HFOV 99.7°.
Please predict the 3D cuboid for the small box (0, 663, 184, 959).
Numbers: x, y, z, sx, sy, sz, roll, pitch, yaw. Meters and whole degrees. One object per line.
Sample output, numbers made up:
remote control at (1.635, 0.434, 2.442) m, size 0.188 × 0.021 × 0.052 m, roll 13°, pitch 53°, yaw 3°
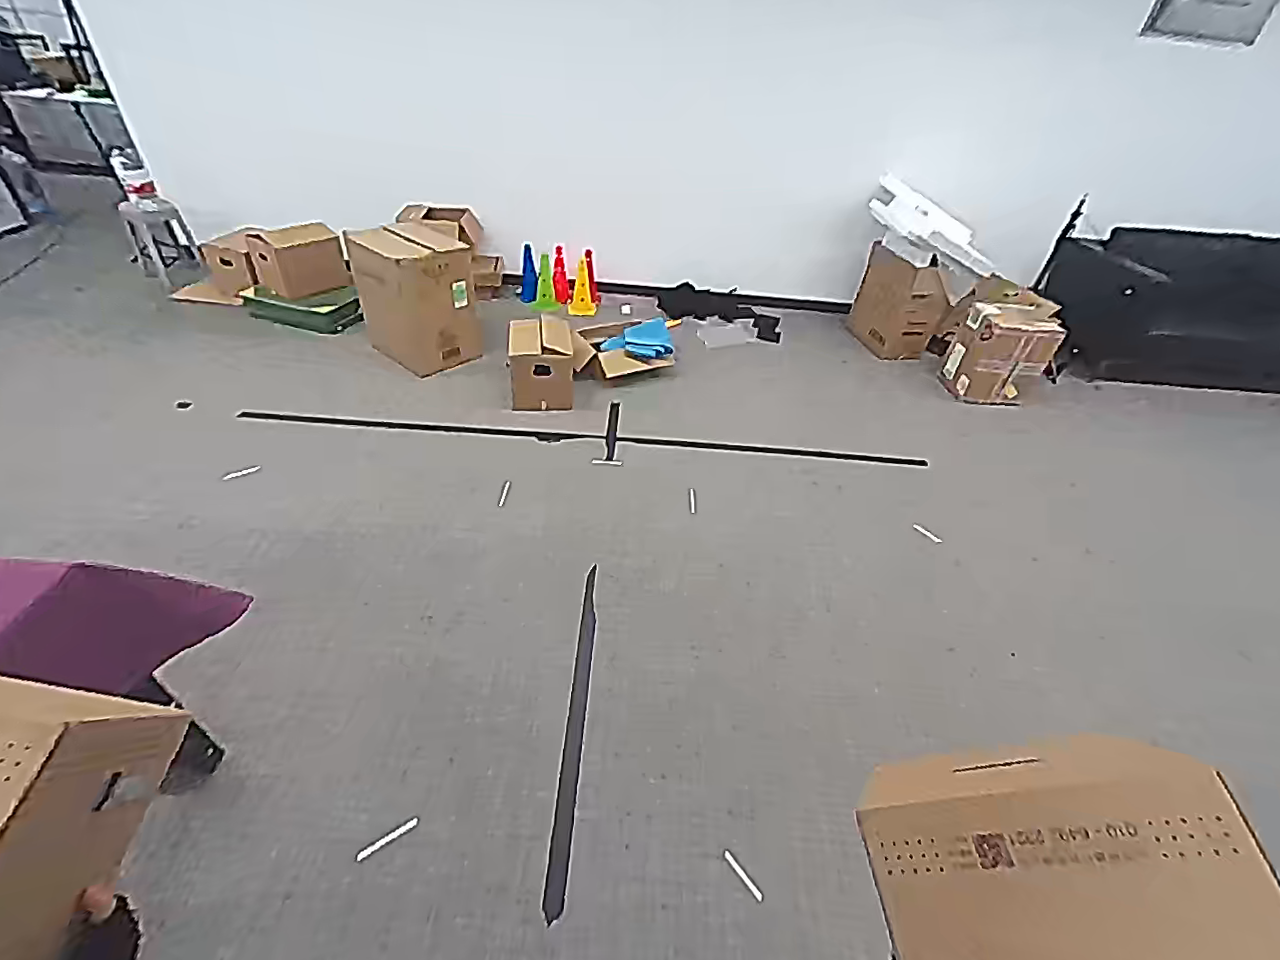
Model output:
small box at (-0.389, 0.179, 0.271) m, size 0.168 × 0.179 × 0.176 m, roll 19°, pitch 63°, yaw -14°
